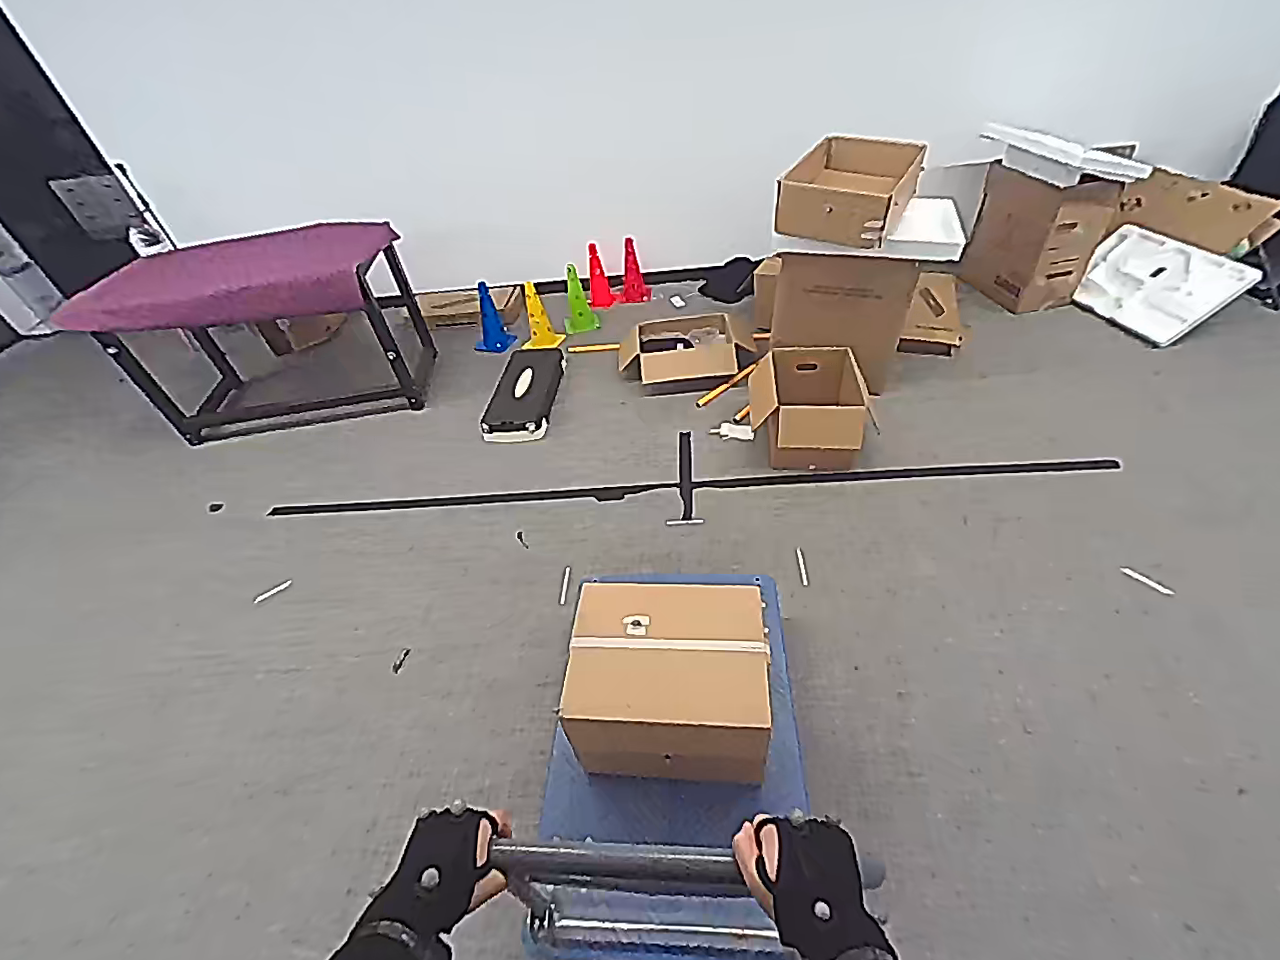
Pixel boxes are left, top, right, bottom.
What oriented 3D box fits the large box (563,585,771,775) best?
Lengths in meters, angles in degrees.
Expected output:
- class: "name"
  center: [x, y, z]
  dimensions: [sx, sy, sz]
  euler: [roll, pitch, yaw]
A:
- class: "large box"
  center: [0.074, 0.456, 1.235]
  dimensions: [0.408, 0.320, 0.320]
  euler: [-1, 43, 8]
